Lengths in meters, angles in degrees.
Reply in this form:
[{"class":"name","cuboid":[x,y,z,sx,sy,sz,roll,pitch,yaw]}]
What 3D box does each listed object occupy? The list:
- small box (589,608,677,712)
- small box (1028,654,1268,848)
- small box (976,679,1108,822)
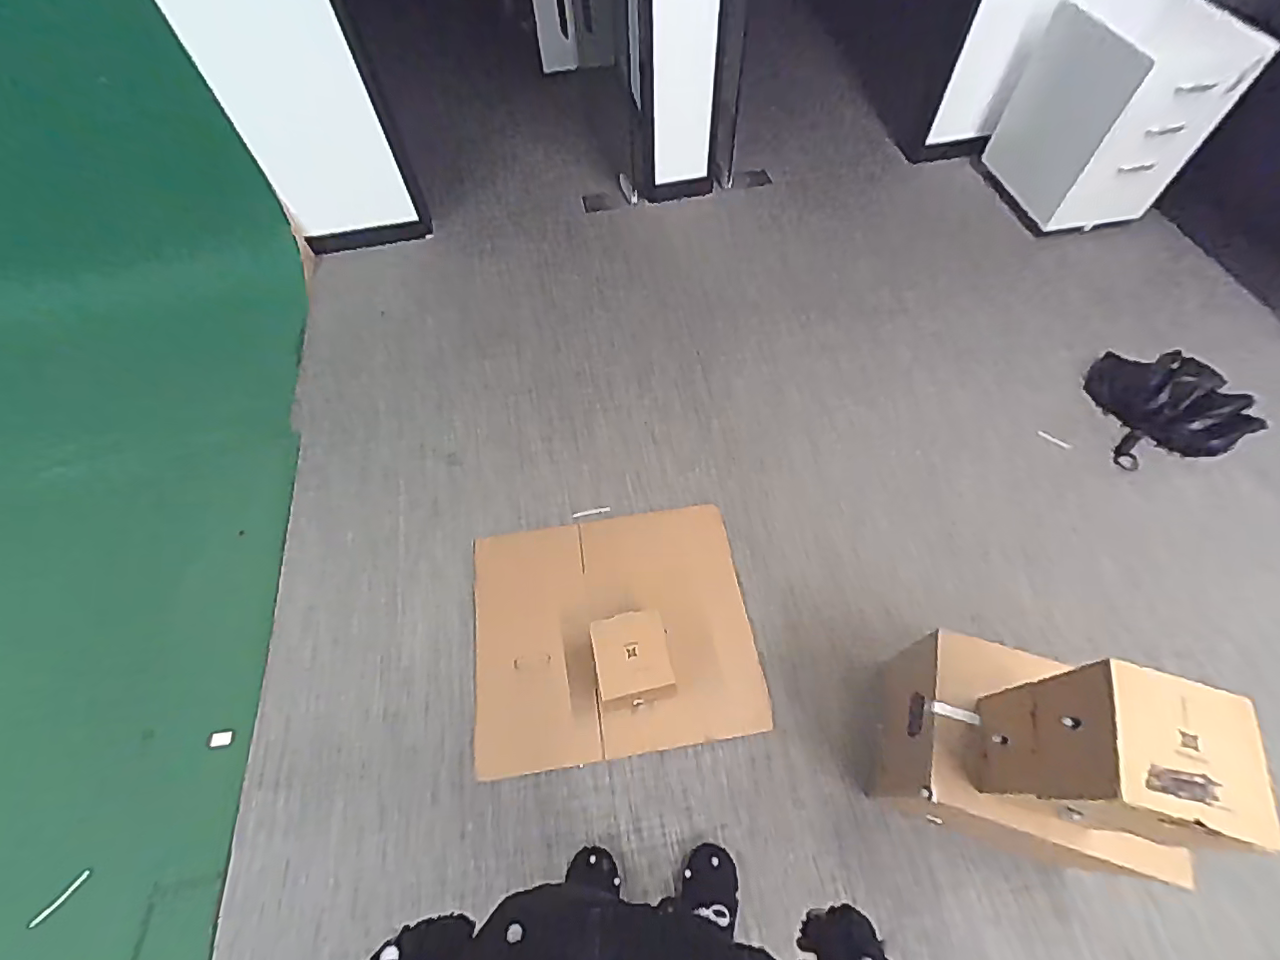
[{"class":"small box","cuboid":[-0.014,0.422,1.259,0.168,0.176,0.179,-14,60,-2]},{"class":"small box","cuboid":[0.660,0.364,0.731,0.168,0.176,0.179,16,60,11]},{"class":"small box","cuboid":[0.674,0.443,0.878,0.179,0.176,0.168,11,59,8]}]
